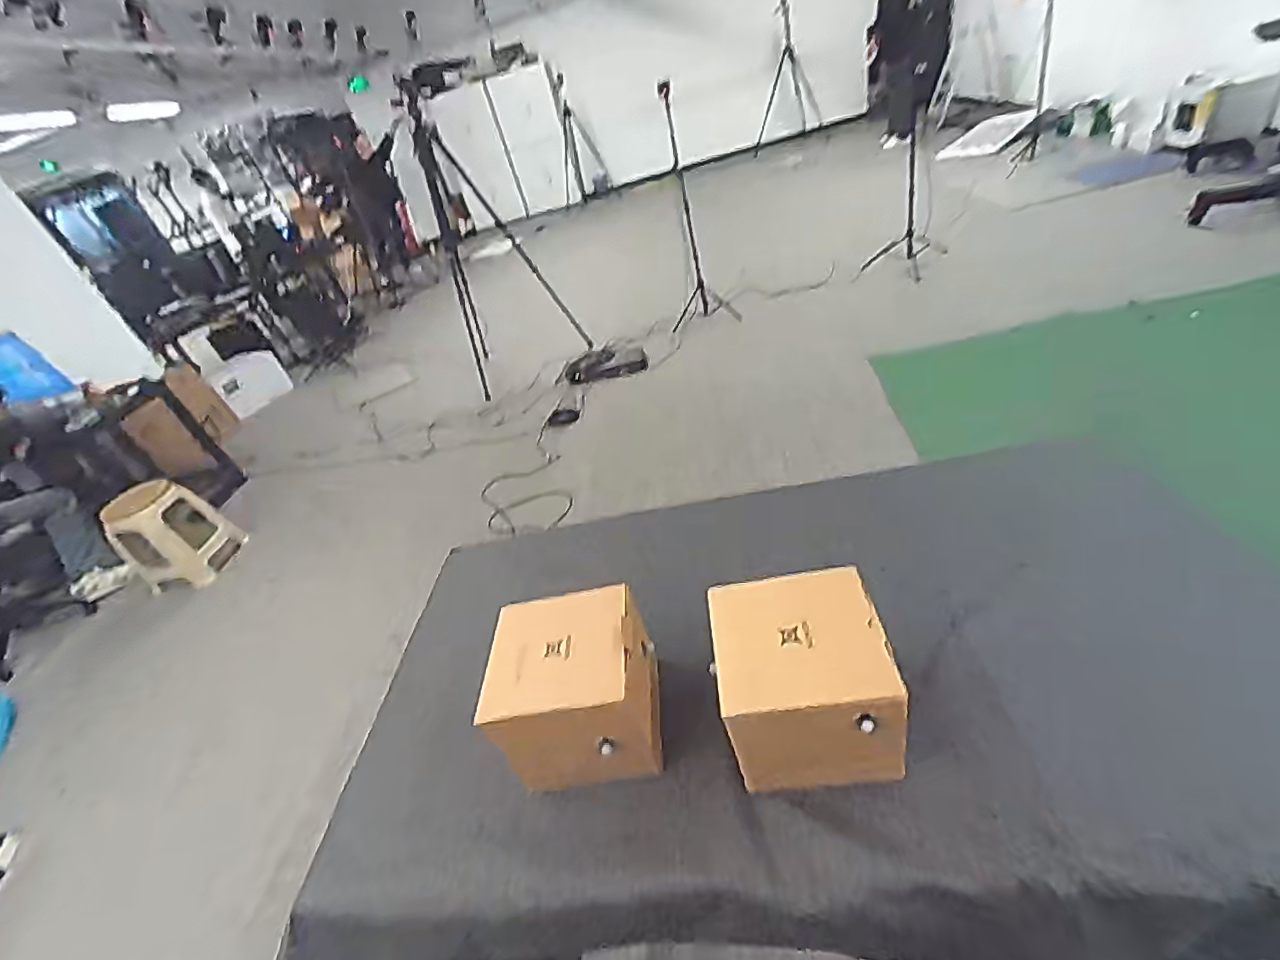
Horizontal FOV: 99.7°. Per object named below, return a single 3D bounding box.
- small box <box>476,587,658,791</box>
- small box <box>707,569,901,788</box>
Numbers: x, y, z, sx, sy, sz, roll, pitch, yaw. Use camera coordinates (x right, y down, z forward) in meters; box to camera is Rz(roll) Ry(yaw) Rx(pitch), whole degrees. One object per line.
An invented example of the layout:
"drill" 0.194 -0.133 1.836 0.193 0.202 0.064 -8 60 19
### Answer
"small box" -0.077 0.266 0.688 0.179 0.176 0.168 -14 34 8
"small box" 0.183 0.231 0.622 0.179 0.176 0.168 -11 35 9
